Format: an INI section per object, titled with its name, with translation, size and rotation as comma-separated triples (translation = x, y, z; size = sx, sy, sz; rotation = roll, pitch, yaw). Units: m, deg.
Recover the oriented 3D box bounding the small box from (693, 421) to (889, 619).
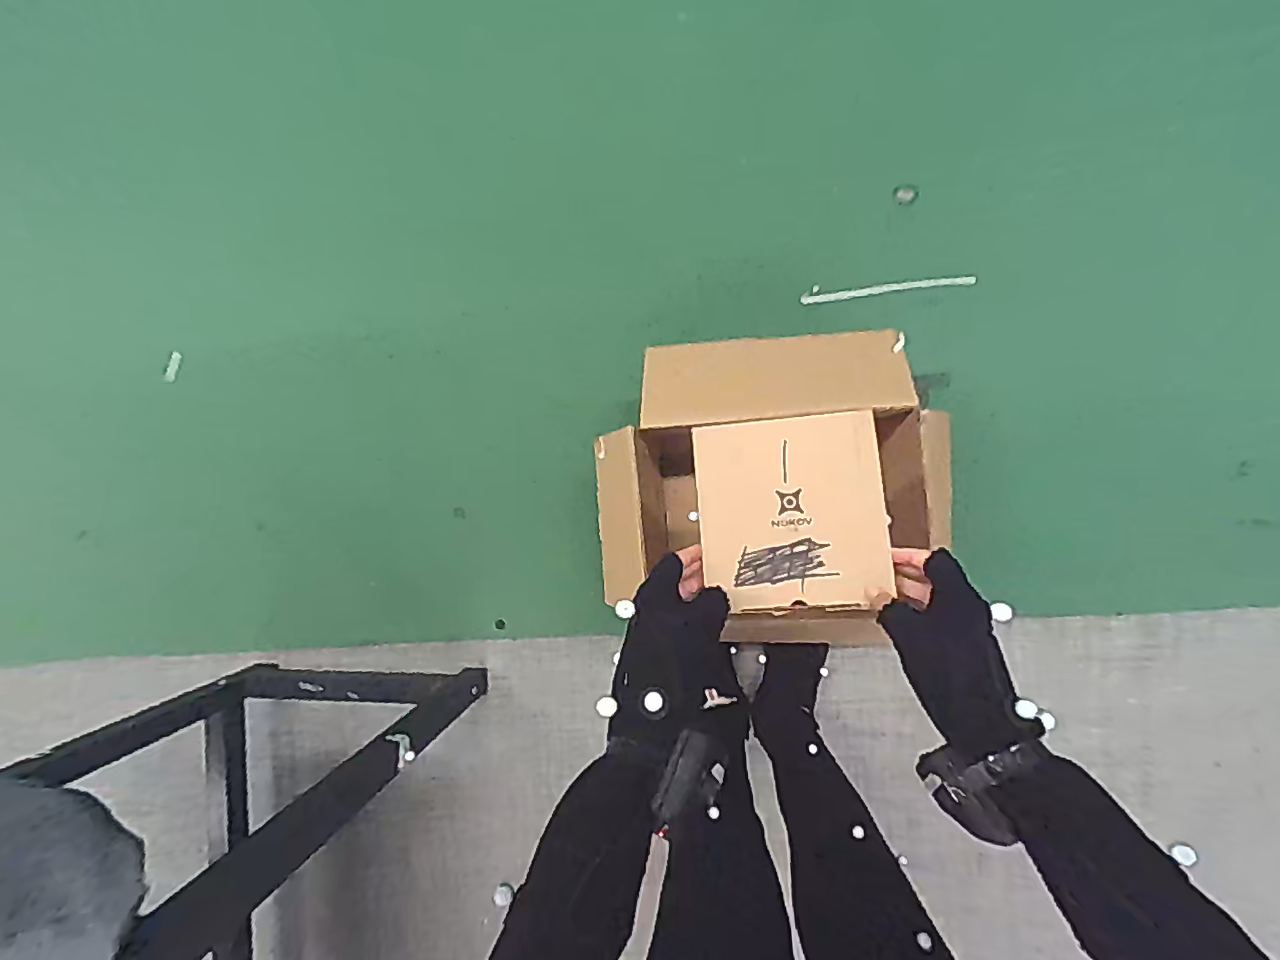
[small box]
translation = 0.152, 0.048, 0.580
size = 0.168, 0.176, 0.179
rotation = -6, 80, 10
